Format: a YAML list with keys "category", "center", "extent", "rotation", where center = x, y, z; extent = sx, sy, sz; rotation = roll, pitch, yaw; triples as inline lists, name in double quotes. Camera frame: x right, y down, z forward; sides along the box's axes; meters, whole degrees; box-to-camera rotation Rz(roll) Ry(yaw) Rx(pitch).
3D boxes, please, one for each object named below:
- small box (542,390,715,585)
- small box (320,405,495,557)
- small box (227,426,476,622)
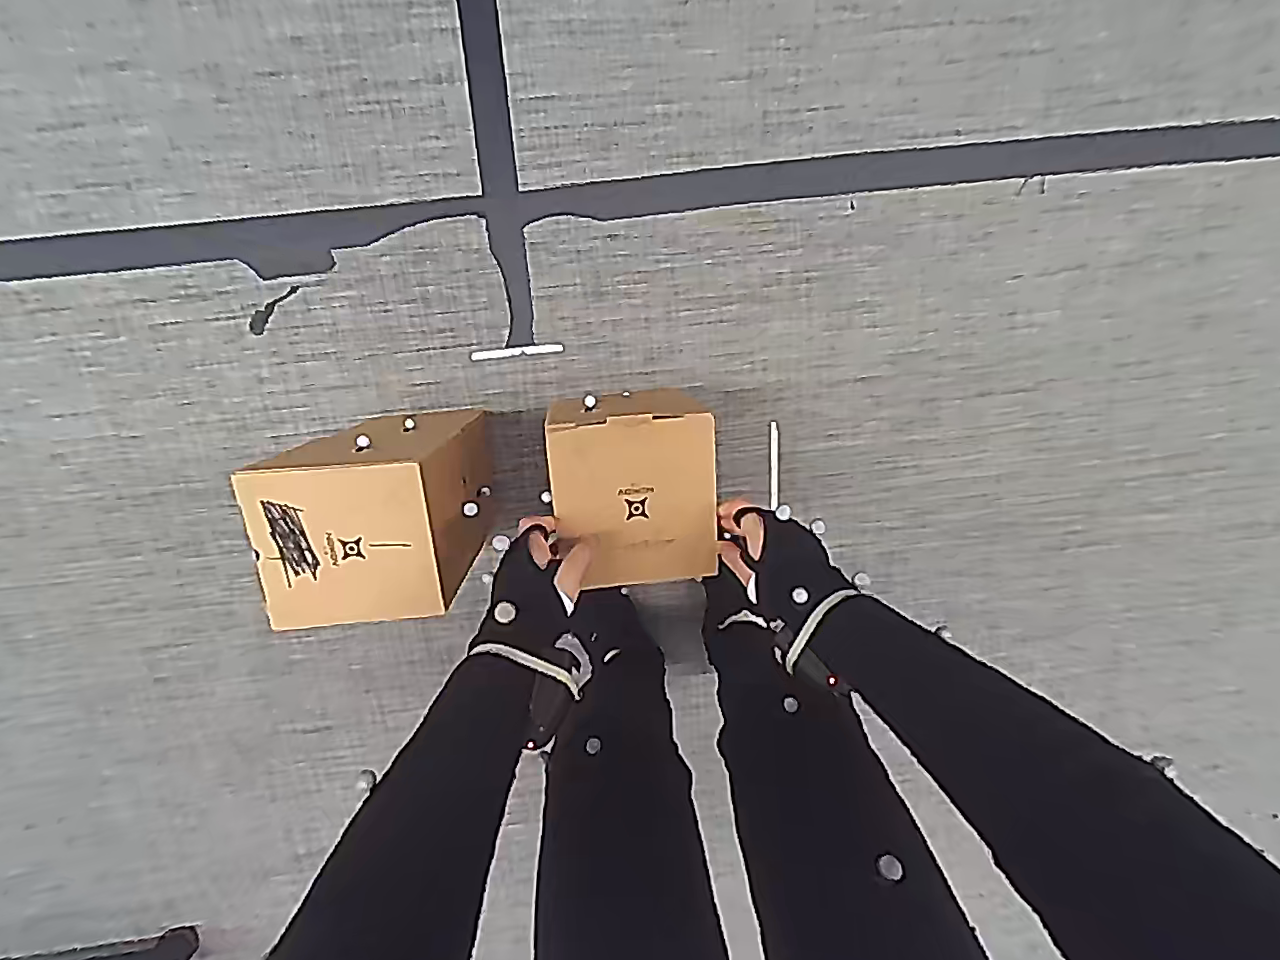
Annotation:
- category: "small box"
  center: [-0.015, -0.004, 0.609]
  extent: [0.168, 0.176, 0.179]
  rotation: [-5, 108, -3]
- category: "small box"
  center: [-0.308, -0.002, 0.758]
  extent: [0.168, 0.176, 0.179]
  rotation: [-3, 107, -2]
- category: "small box"
  center: [-0.296, 0.038, 0.598]
  extent: [0.179, 0.176, 0.168]
  rotation: [-4, 107, -3]
